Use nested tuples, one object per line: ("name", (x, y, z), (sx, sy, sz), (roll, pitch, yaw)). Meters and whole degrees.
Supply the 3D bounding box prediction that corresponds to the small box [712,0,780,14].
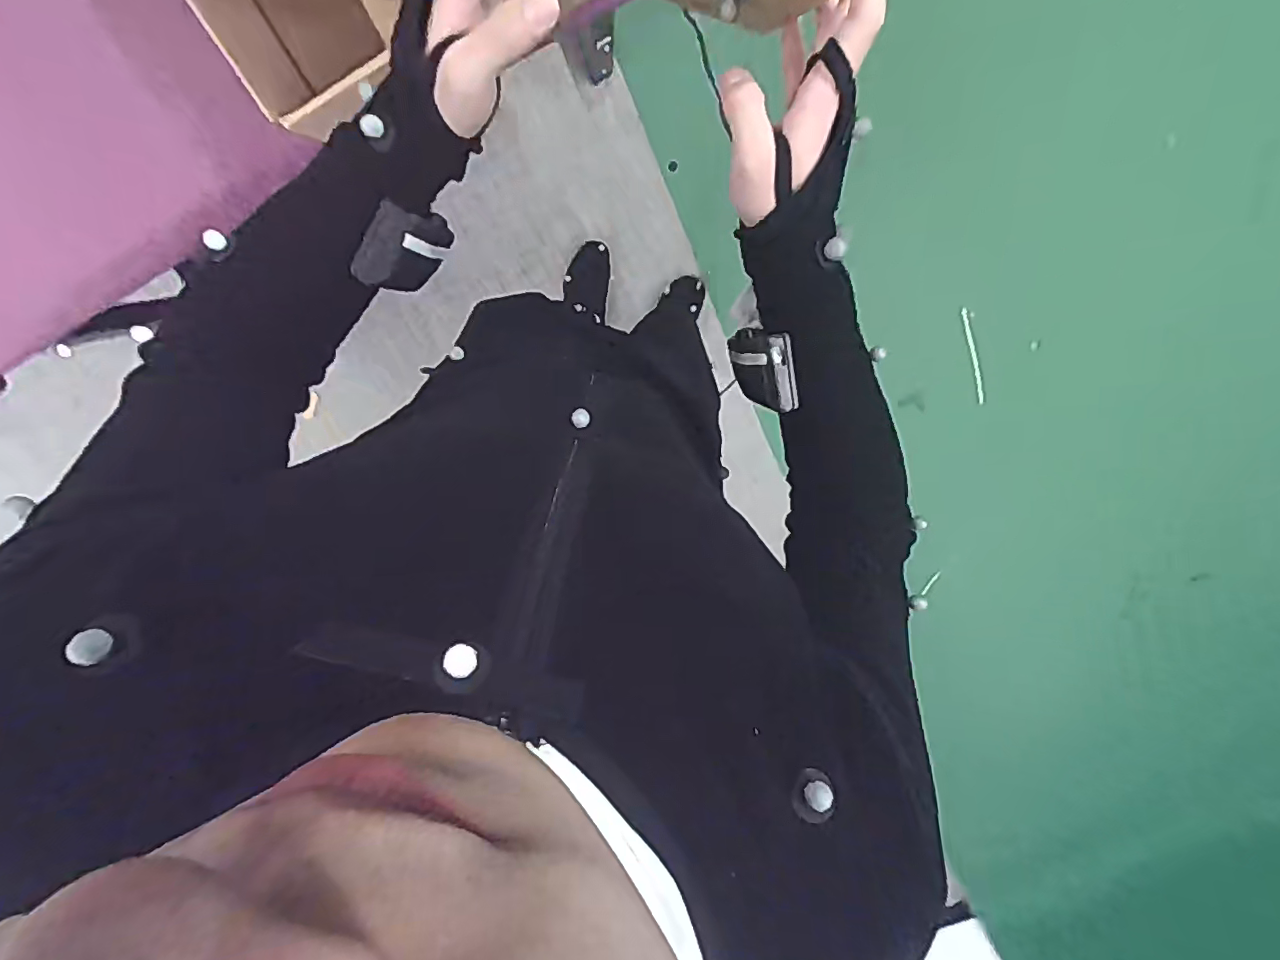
("small box", (0.044, -0.385, 0.282), (0.168, 0.176, 0.179), (10, 122, -12))
